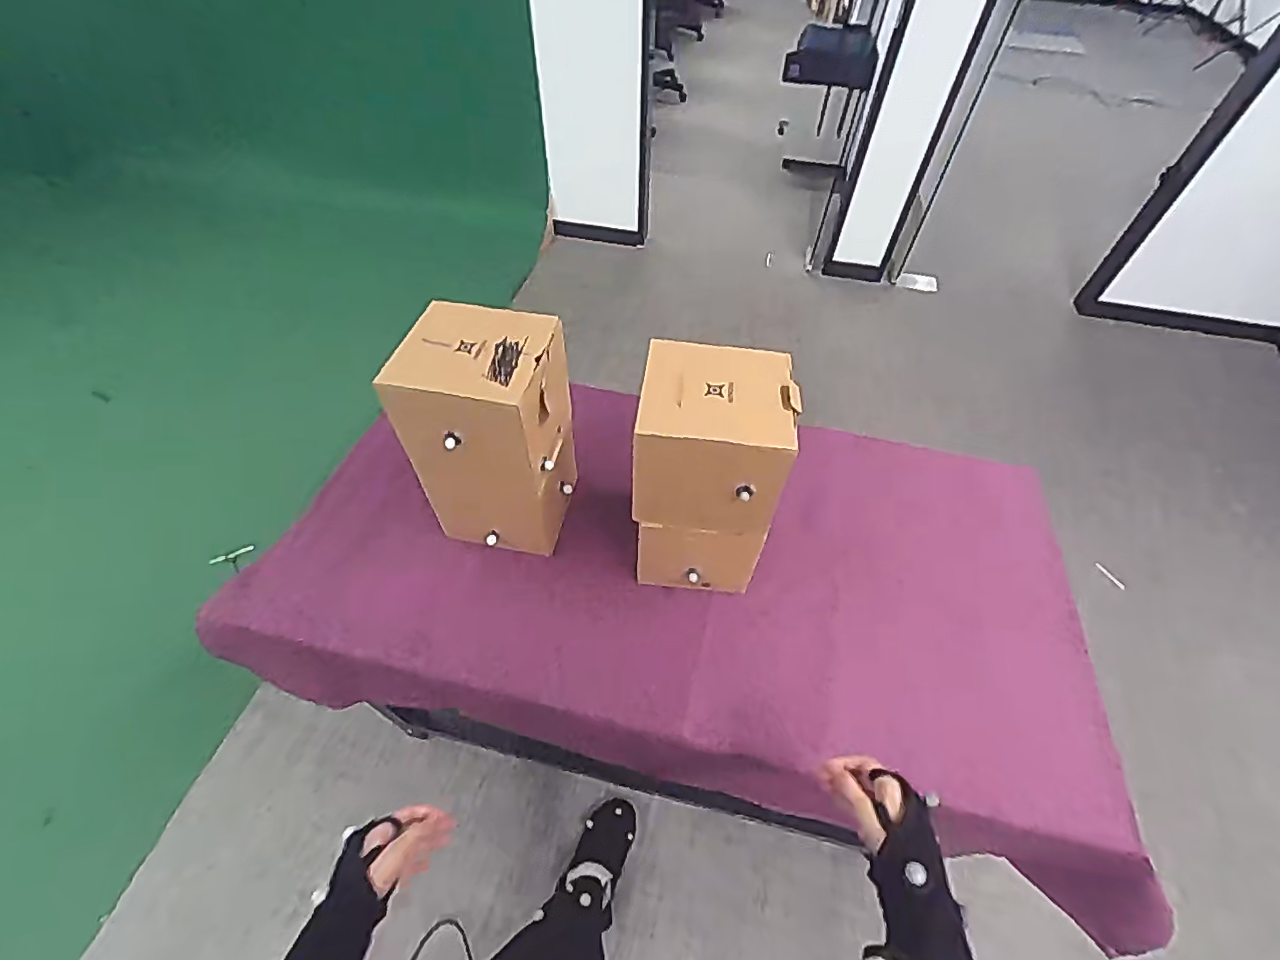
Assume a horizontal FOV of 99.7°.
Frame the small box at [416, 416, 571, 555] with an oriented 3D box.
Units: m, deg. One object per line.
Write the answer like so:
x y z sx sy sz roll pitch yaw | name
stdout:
-0.212 0.000 0.844 0.179 0.176 0.168 10 52 5 | small box

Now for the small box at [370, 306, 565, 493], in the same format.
-0.207 -0.101 0.713 0.179 0.176 0.168 9 53 7 | small box

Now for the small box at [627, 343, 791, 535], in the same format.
0.082 -0.047 0.682 0.179 0.176 0.168 7 52 4 | small box

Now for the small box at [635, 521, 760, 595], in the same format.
0.082 0.051 0.813 0.168 0.176 0.179 5 53 3 | small box
